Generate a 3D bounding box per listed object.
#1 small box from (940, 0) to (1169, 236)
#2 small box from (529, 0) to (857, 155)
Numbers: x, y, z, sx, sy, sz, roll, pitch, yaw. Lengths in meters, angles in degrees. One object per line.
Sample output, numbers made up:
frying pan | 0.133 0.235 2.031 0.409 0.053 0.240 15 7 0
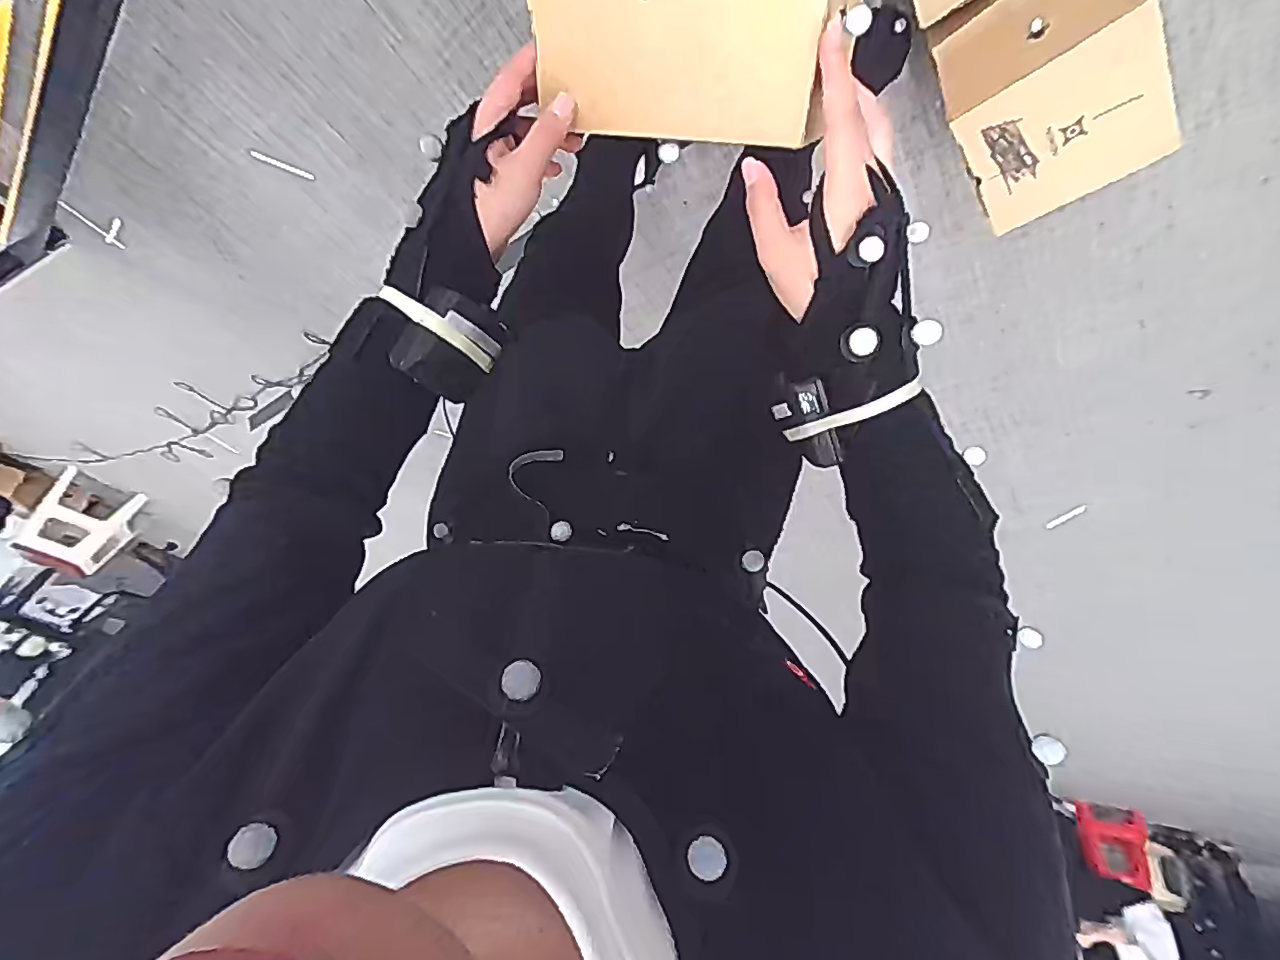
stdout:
small box | 0.472 -0.438 0.637 0.179 0.176 0.168 -19 133 39
small box | 0.045 -0.316 0.344 0.179 0.176 0.168 16 128 18
